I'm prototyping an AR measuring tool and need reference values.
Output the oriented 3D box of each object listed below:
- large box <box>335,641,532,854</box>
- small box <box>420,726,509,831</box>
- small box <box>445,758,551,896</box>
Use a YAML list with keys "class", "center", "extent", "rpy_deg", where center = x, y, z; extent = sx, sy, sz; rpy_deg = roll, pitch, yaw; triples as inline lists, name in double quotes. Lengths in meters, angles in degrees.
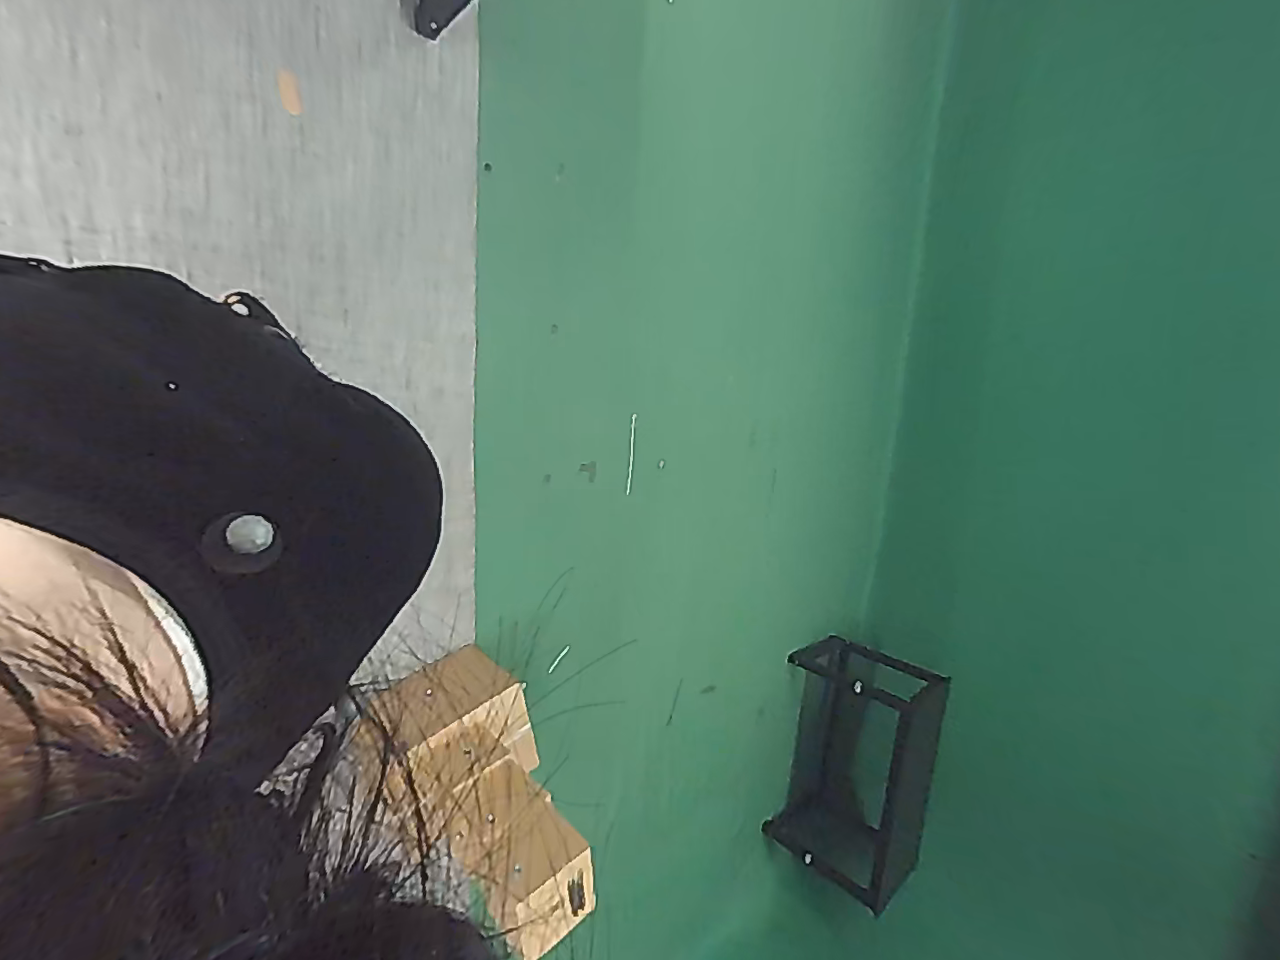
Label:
- class: "large box"
  center: [-0.589, 0.741, 1.571]
  extent: [0.408, 0.320, 0.320]
  rpy_deg: [-24, 117, -40]
- class: "small box"
  center: [-0.440, 0.759, 1.373]
  extent: [0.168, 0.176, 0.179]
  rpy_deg: [-17, 110, -41]
- class: "small box"
  center: [-0.330, 0.792, 1.259]
  extent: [0.179, 0.176, 0.168]
  rpy_deg: [-15, 109, -41]
